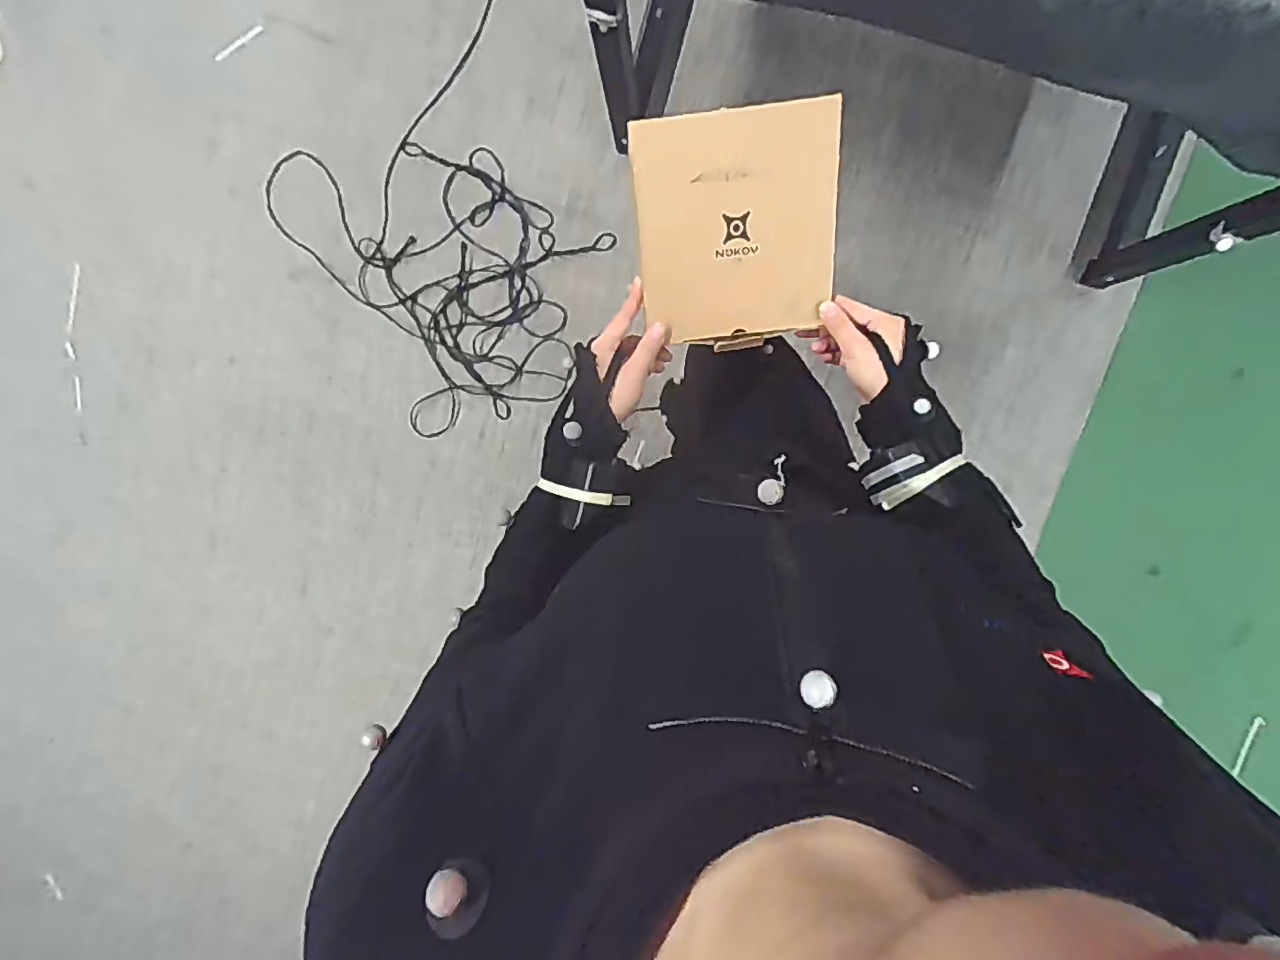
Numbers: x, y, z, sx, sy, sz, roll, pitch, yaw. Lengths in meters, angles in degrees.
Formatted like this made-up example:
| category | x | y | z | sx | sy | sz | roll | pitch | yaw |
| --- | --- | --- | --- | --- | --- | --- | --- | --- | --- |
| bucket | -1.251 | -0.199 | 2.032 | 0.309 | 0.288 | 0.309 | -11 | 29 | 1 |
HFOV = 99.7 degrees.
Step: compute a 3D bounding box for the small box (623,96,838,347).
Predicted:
| category | x | y | z | sx | sy | sz | roll | pitch | yaw |
| --- | --- | --- | --- | --- | --- | --- | --- | --- | --- |
| small box | 0.077 | -0.239 | 0.518 | 0.168 | 0.176 | 0.179 | -7 | 115 | 2 |
